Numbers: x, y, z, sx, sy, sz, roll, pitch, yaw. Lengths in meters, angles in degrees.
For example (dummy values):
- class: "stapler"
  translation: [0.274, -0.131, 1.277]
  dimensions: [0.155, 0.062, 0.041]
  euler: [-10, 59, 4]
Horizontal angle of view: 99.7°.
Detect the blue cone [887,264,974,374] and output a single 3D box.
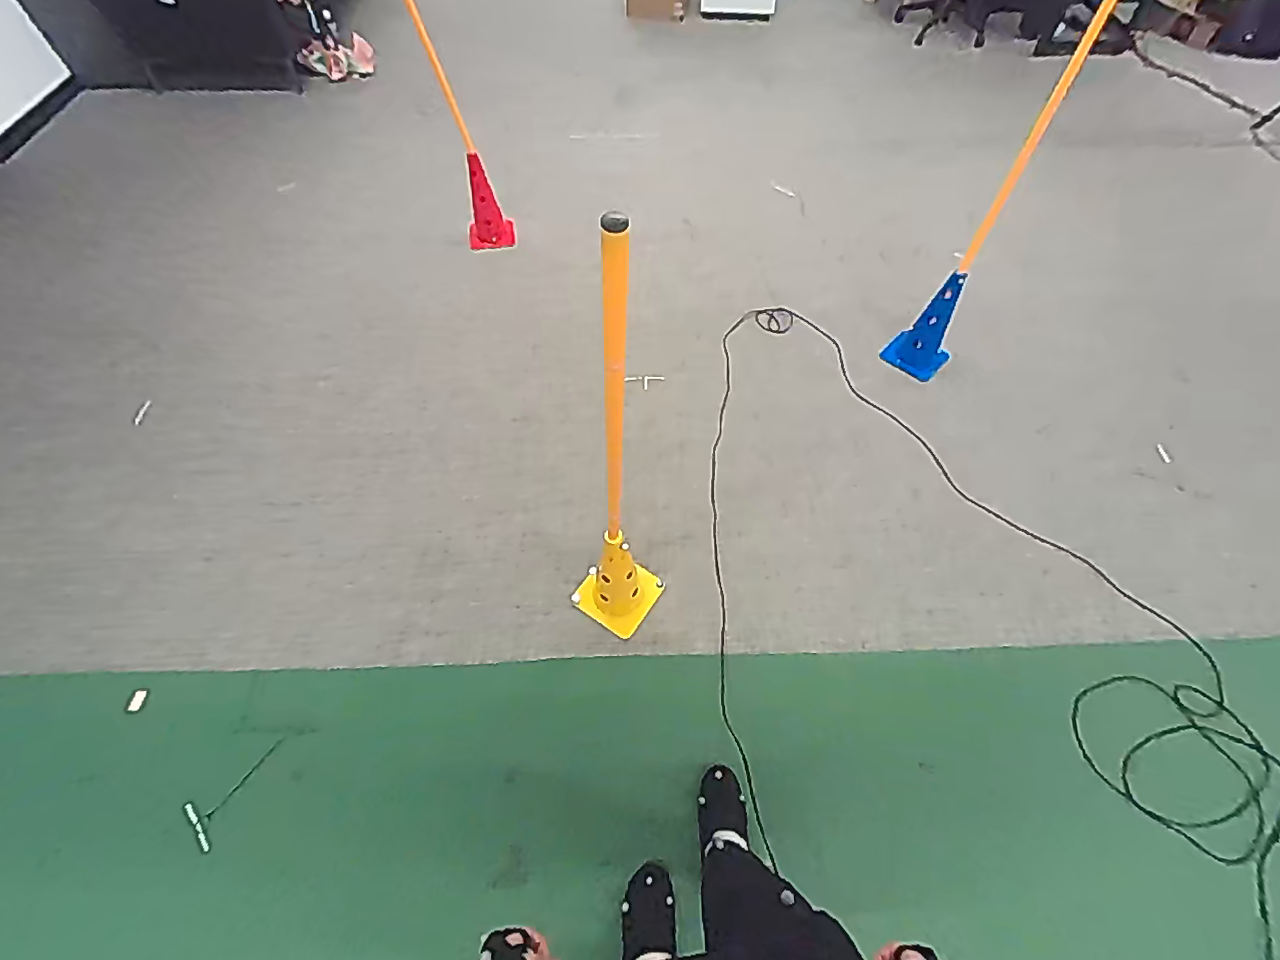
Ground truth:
- class: "blue cone"
  translation: [1.032, -0.574, 1.875]
  dimensions: [0.192, 0.380, 0.193]
  euler: [37, 62, 22]
